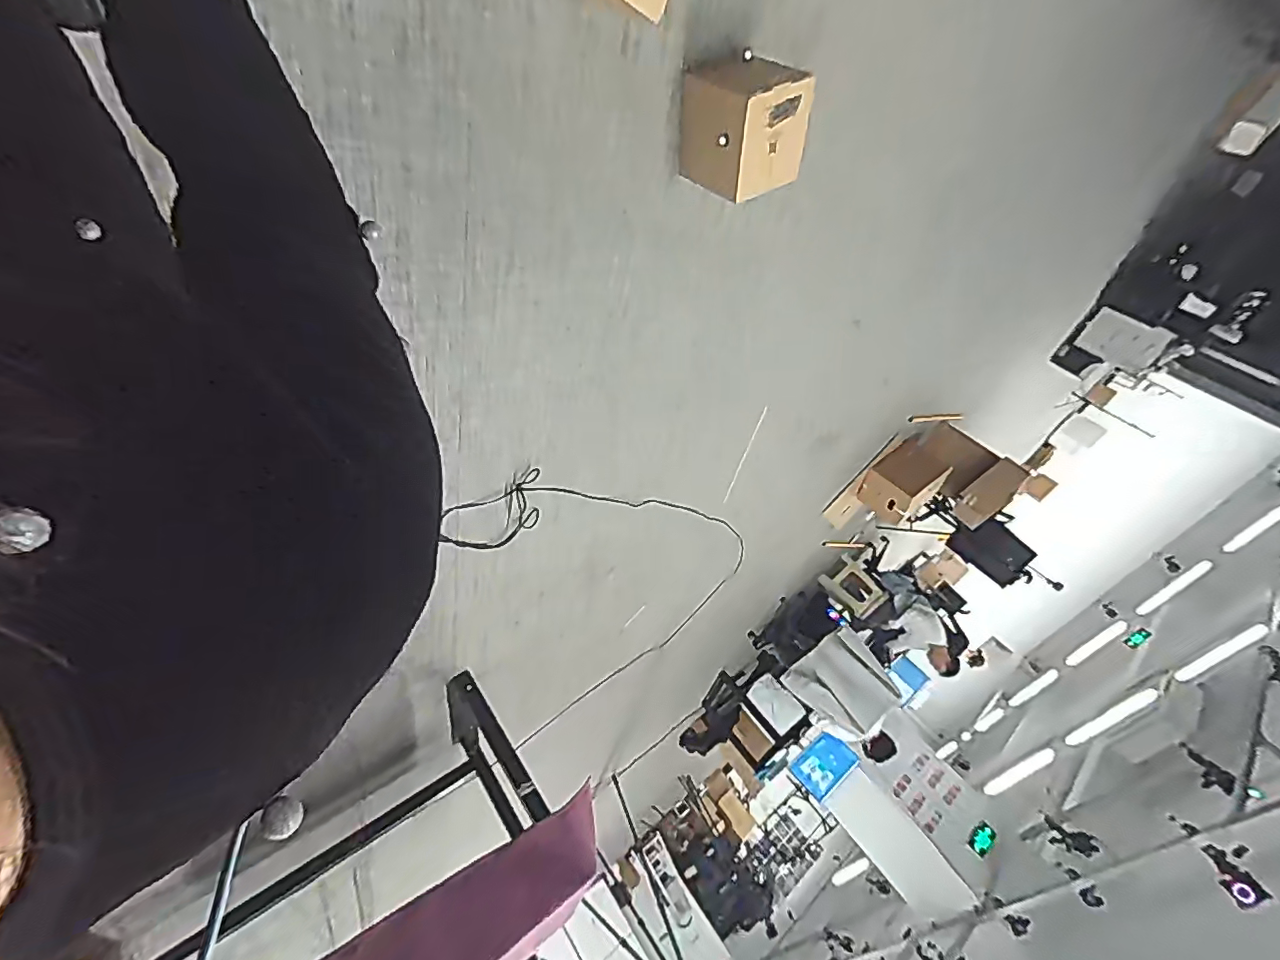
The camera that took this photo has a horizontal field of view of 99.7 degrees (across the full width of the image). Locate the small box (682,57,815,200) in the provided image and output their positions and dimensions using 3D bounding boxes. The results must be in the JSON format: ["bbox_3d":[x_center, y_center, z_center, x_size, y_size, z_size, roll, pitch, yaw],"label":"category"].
[{"bbox_3d":[0.193,-0.662,1.011,0.168,0.176,0.179,-32,148,-21],"label":"small box"}]

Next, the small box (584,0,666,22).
[{"bbox_3d":[-0.049,-0.713,0.656,0.168,0.176,0.179,-8,134,-46],"label":"small box"}]
